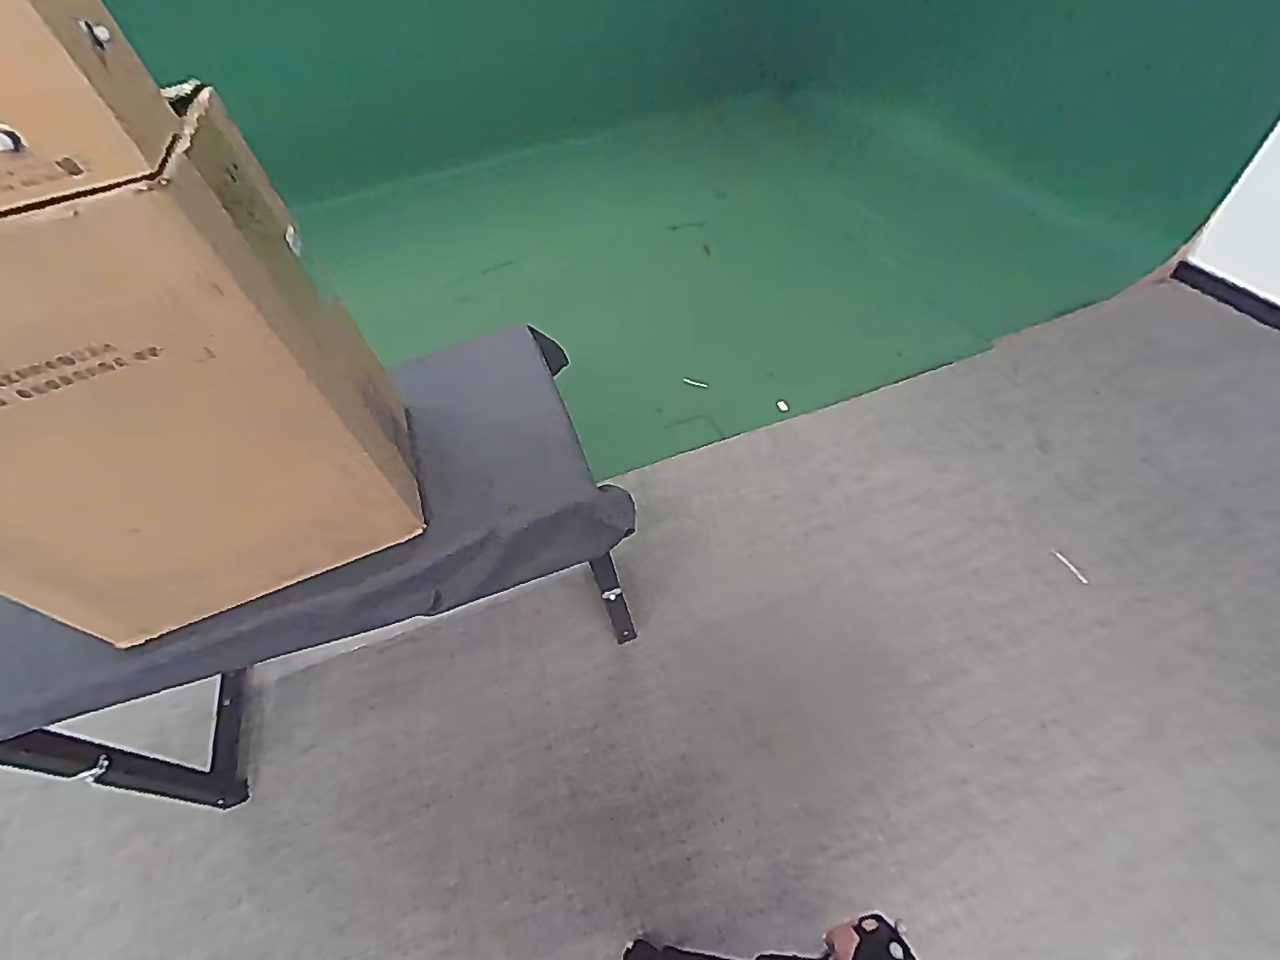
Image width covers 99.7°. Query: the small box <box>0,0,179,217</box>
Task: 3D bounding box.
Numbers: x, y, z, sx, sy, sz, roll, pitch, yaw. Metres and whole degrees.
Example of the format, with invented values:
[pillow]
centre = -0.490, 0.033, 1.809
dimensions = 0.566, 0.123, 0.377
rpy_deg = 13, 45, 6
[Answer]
[small box]
centre = -0.582, -0.374, 0.504
dimensions = 0.168, 0.176, 0.179
rpy_deg = -21, 52, -9
